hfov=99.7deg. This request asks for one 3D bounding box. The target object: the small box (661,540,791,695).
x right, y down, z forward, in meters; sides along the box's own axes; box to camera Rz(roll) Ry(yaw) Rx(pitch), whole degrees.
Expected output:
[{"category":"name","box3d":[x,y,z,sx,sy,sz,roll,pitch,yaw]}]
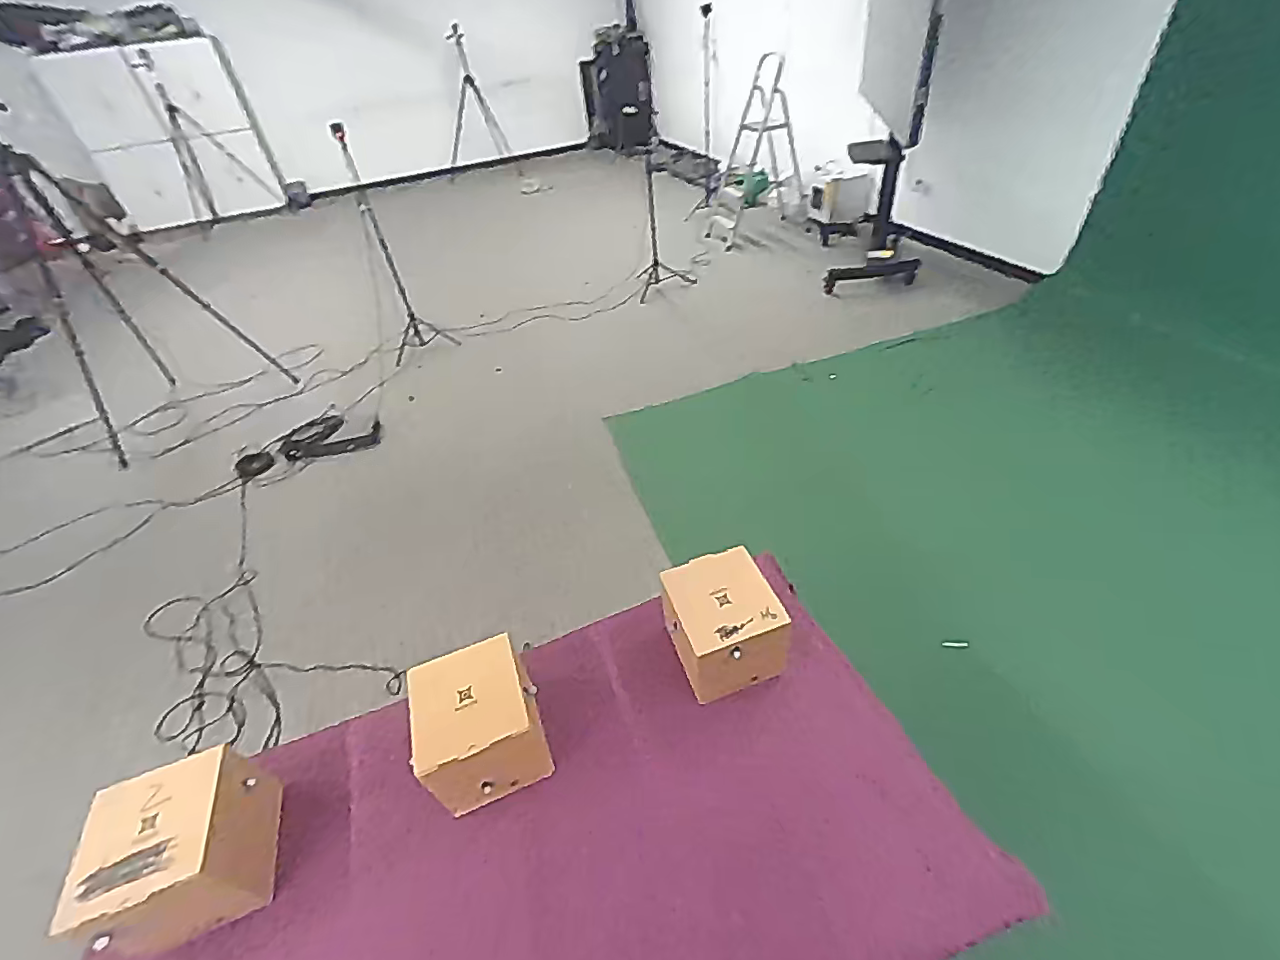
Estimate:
[{"category":"small box","box3d":[0.144,0.241,0.950,0.168,0.176,0.179,-17,43,-9]}]

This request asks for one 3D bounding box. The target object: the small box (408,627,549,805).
[{"category":"small box","box3d":[-0.255,0.374,0.862,0.168,0.176,0.179,-18,44,-13]}]
